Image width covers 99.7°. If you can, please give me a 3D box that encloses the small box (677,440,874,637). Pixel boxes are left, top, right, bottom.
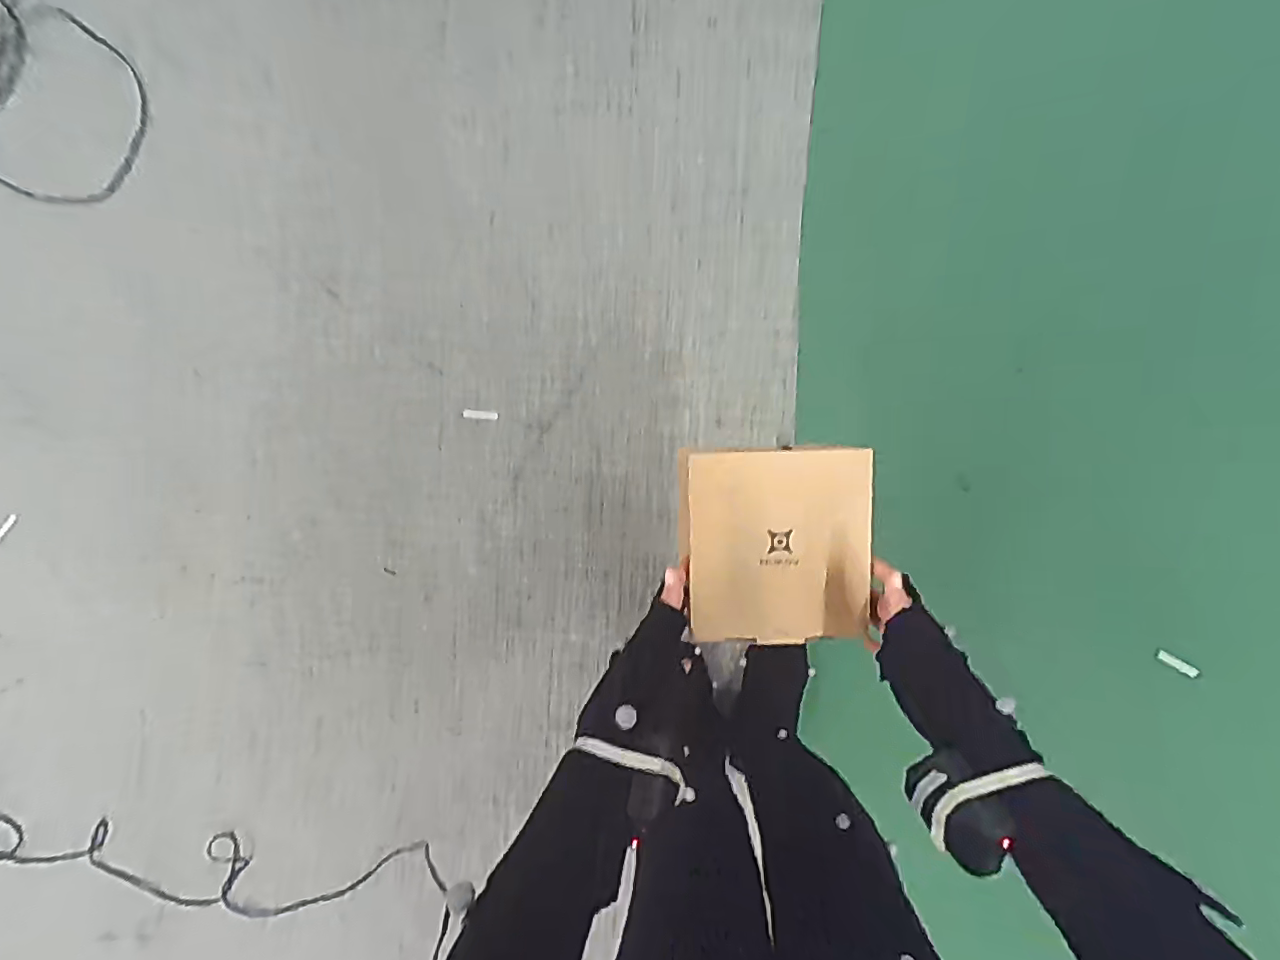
[{"bbox_3d":[0.126,0.048,0.562,0.168,0.176,0.179,-1,95,1],"label":"small box"}]
